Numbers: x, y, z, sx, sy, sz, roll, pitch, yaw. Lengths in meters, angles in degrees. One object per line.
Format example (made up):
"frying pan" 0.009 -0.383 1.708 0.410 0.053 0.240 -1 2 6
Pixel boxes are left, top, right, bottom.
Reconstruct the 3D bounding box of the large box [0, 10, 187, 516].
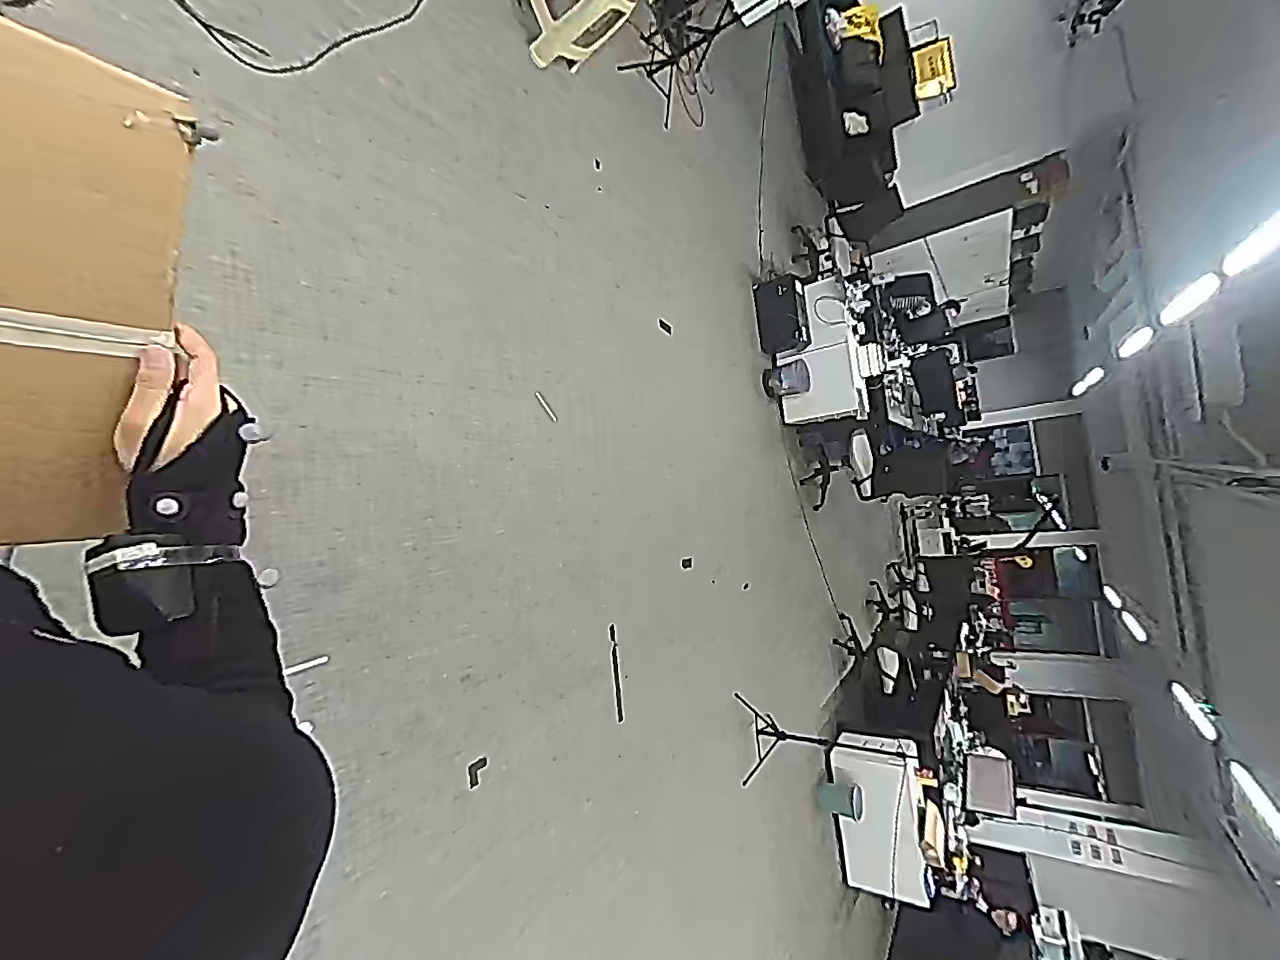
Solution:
"large box" -0.568 -0.175 0.309 0.408 0.320 0.320 -3 122 -53
